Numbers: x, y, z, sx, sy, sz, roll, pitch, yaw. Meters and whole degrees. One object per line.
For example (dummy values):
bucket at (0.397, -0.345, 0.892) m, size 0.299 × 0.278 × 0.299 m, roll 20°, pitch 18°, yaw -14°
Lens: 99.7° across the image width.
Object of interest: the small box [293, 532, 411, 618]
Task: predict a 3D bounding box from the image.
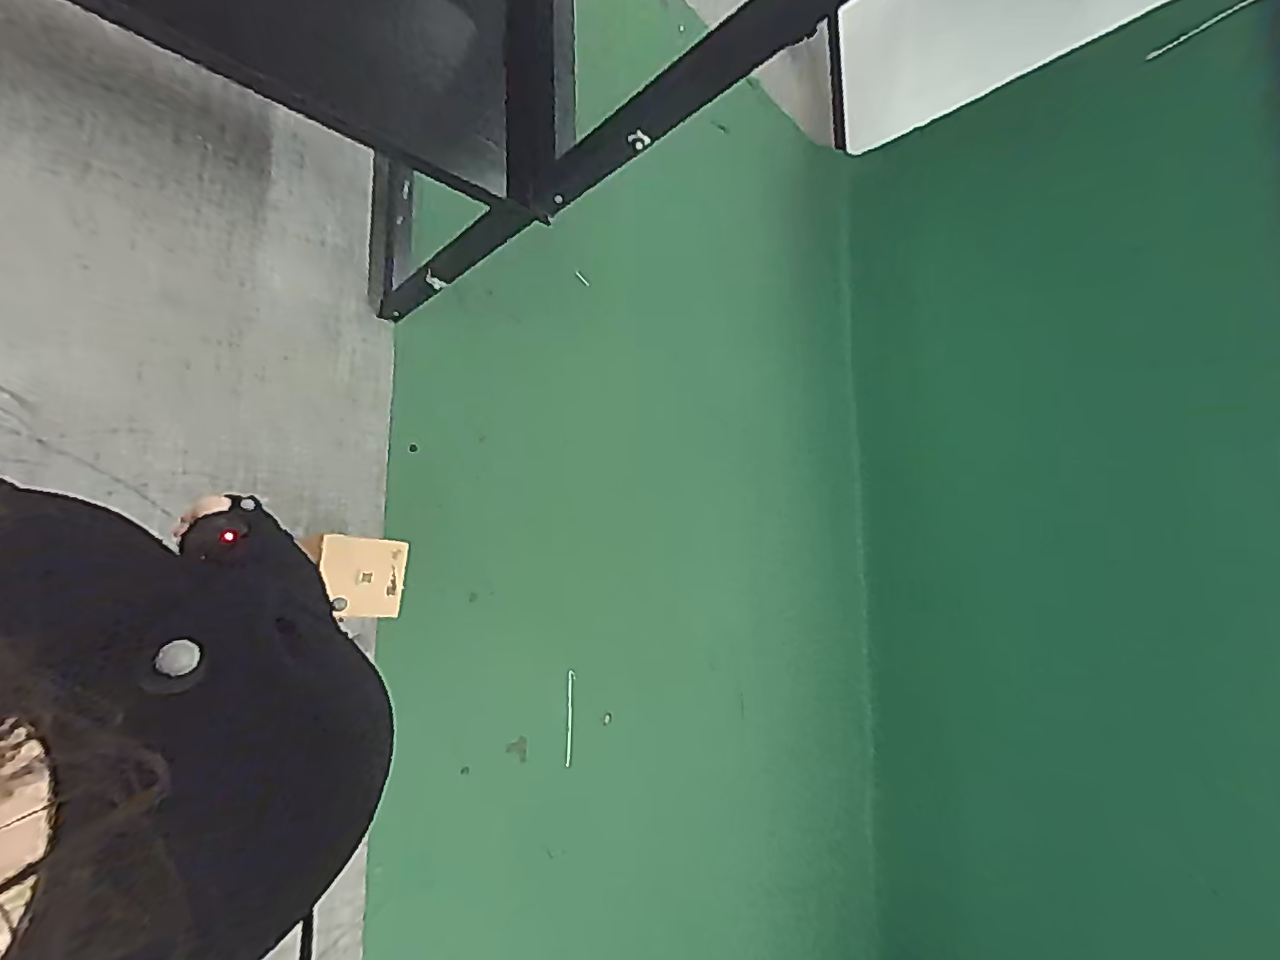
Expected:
small box at (-0.630, 0.210, 1.179) m, size 0.179 × 0.176 × 0.168 m, roll 16°, pitch 73°, yaw -43°
